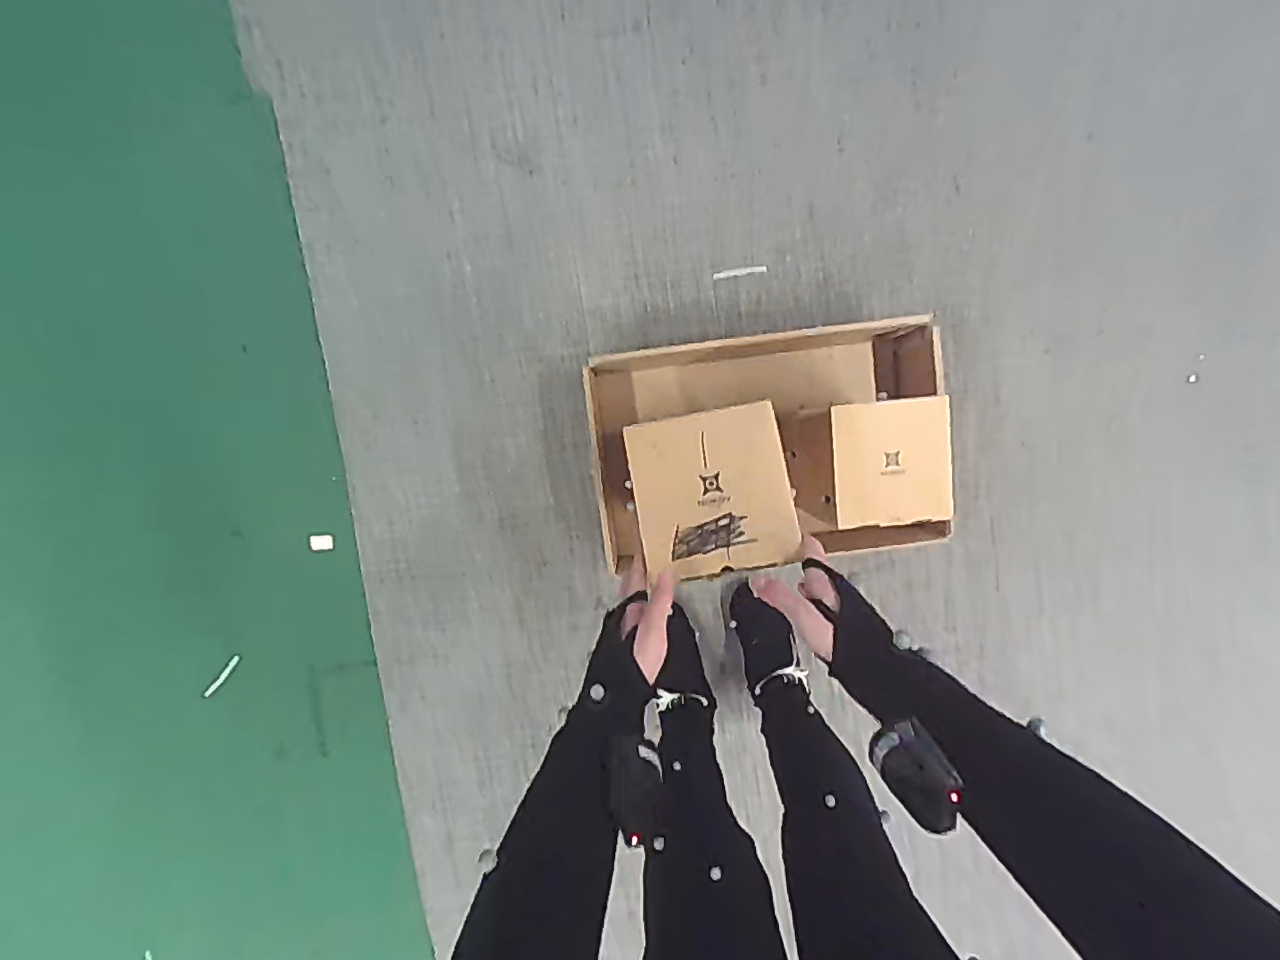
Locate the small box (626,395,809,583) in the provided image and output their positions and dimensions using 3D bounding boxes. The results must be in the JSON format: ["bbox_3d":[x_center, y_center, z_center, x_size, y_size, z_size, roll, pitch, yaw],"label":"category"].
[{"bbox_3d":[0.086,0.019,0.642,0.168,0.176,0.179,-11,80,3],"label":"small box"}]

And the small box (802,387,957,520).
[{"bbox_3d":[0.355,-0.043,0.828,0.168,0.176,0.179,-5,97,1],"label":"small box"}]
